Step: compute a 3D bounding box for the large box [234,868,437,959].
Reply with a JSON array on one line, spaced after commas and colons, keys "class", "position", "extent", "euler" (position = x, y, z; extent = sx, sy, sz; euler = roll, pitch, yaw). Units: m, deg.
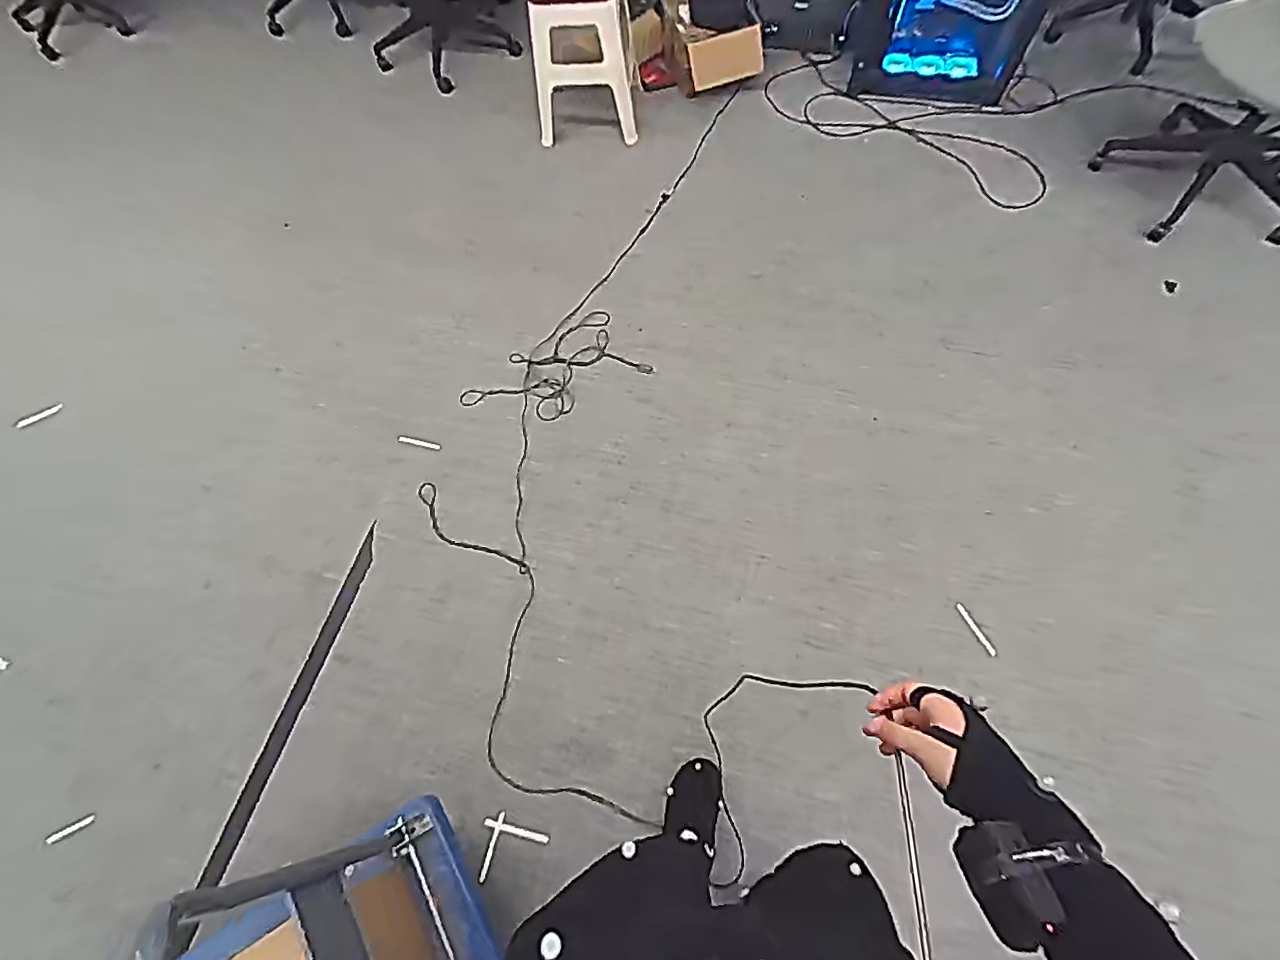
[{"class": "large box", "position": [-0.495, 0.920, 0.827], "extent": [0.320, 0.320, 0.408], "euler": [-31, 67, -11]}]
